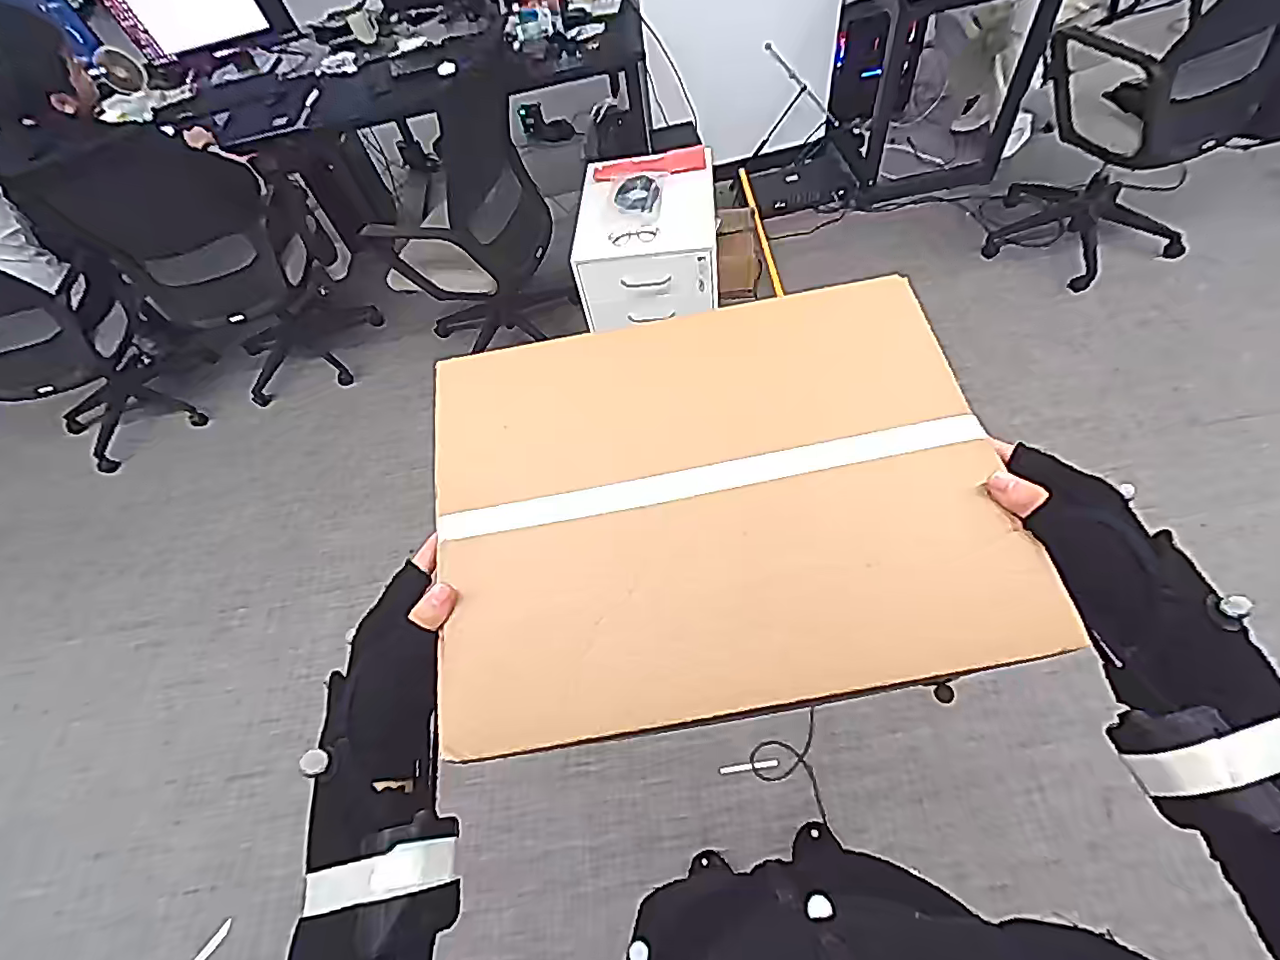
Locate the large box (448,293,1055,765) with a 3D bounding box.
[{"bbox_3d":[0.066,0.071,0.546,0.408,0.320,0.320,-11,64,1],"label":"large box"}]
